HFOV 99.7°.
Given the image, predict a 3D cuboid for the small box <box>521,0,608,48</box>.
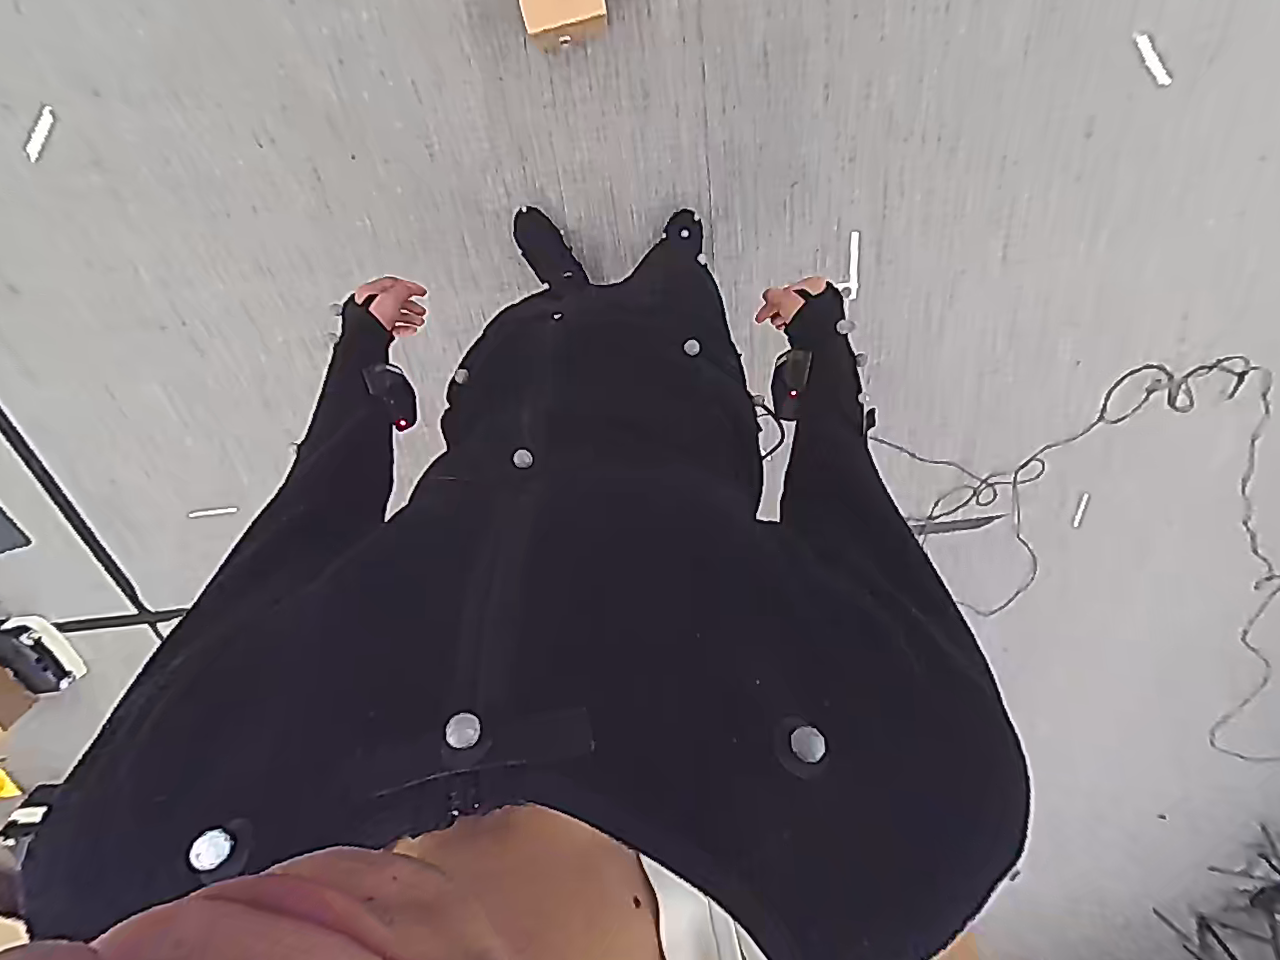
[{"bbox_3d":[-0.165,-1.020,1.099,0.168,0.176,0.179,-12,119,3],"label":"small box"}]
